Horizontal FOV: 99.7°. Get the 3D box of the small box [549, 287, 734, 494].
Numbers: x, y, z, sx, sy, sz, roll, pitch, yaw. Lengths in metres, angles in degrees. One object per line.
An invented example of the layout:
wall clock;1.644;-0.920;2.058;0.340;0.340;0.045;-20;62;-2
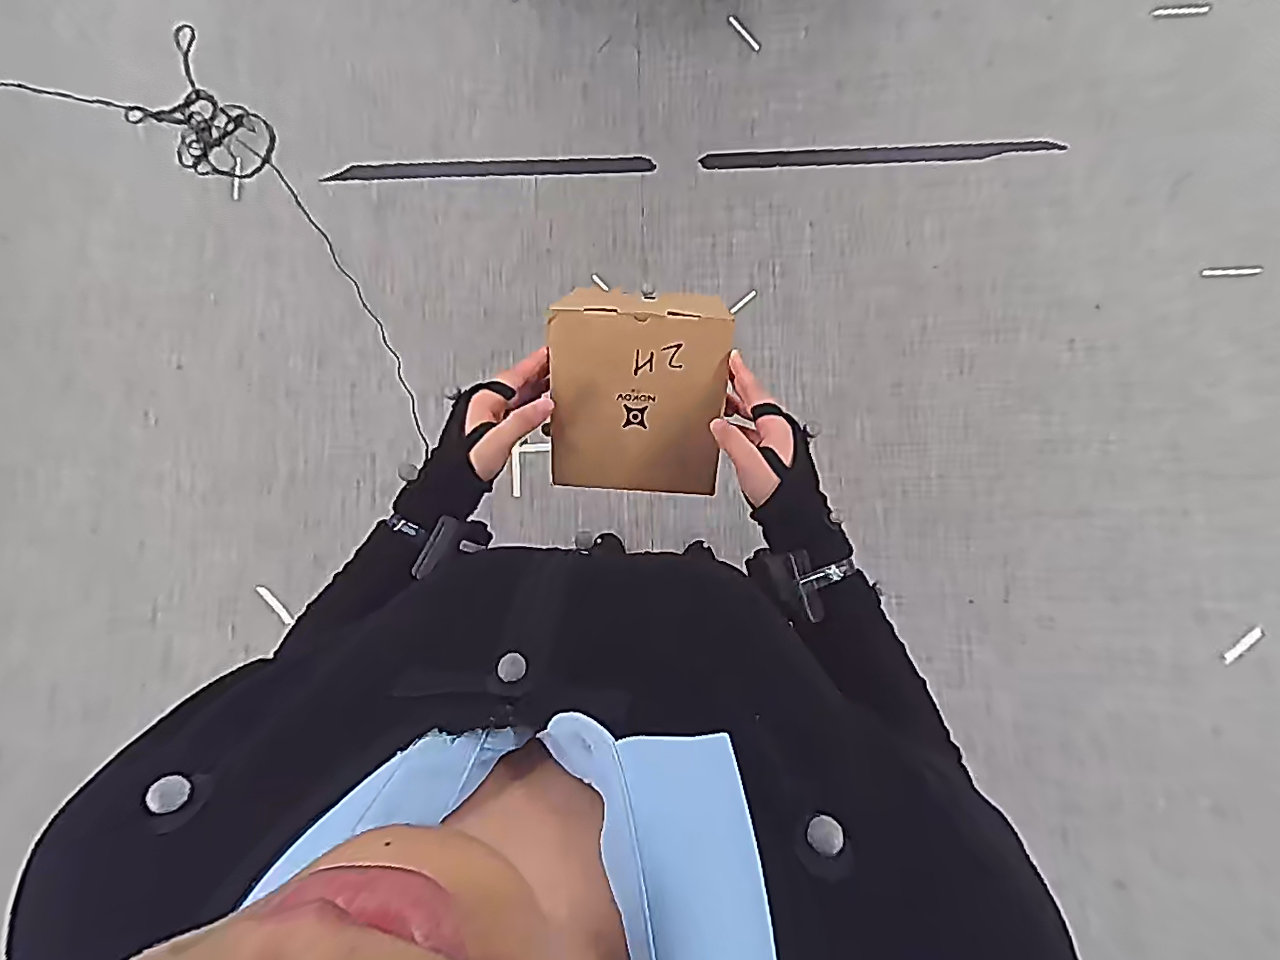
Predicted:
small box;0.001;-0.103;0.577;0.168;0.176;0.179;4;114;1
